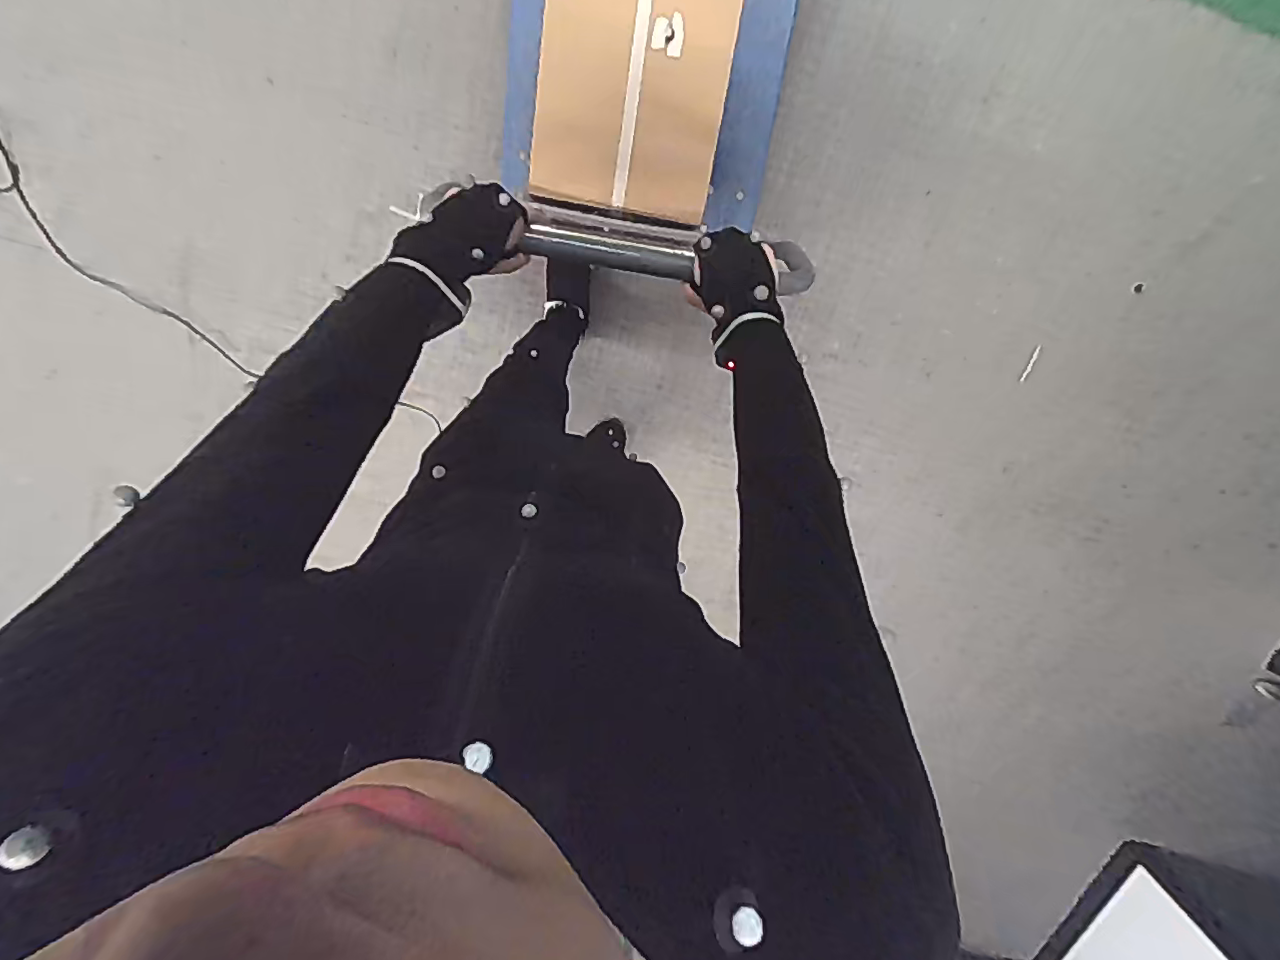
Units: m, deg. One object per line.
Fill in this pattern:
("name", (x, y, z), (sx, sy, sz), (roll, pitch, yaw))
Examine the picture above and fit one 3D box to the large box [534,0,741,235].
("large box", (-0.010, -0.726, 1.047), (0.320, 0.320, 0.408), (8, 108, -5))
